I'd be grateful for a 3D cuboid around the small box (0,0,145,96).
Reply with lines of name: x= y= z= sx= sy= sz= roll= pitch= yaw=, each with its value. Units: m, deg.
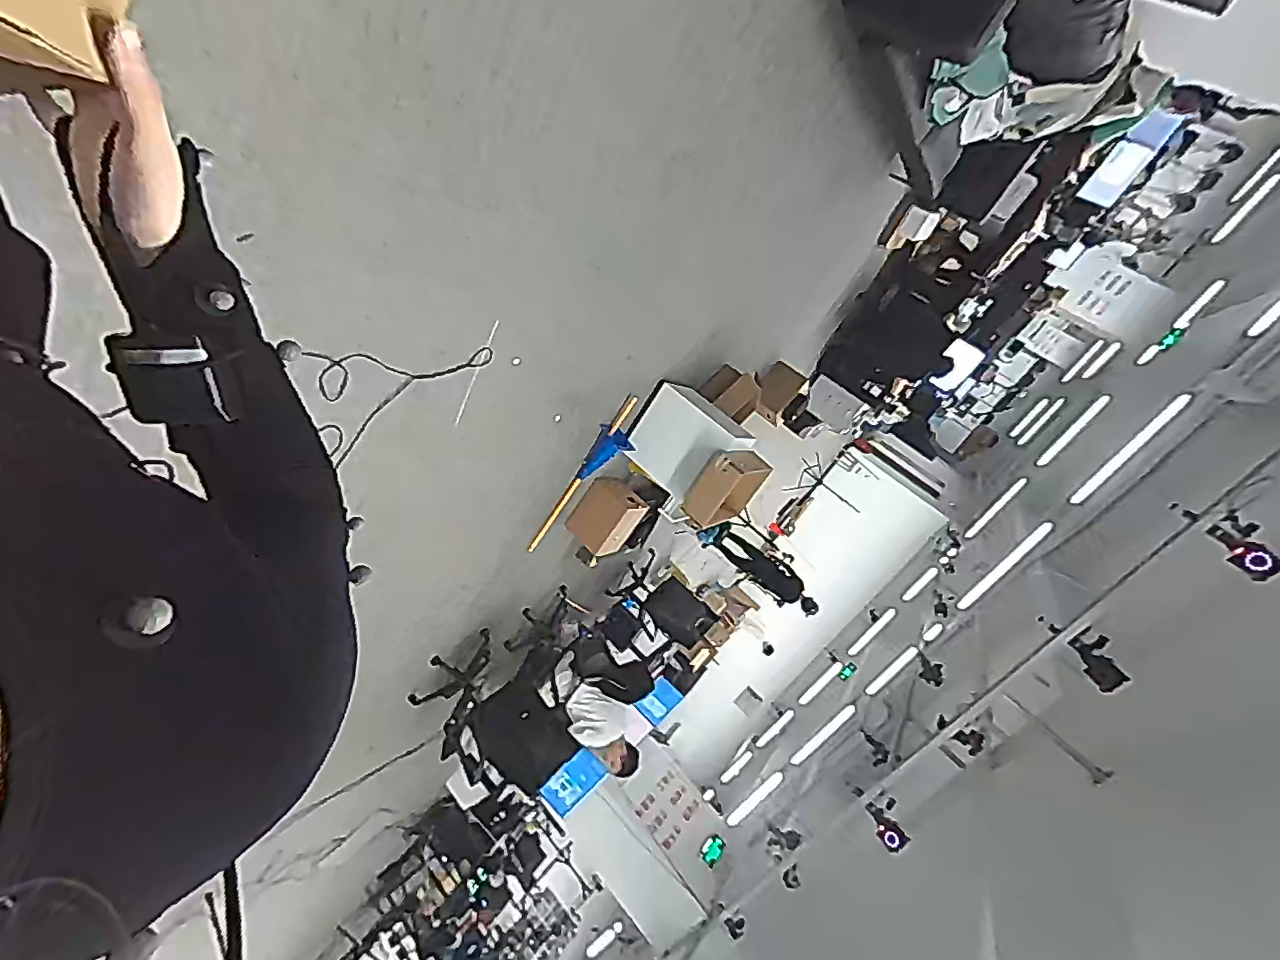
small box: x=-0.355 y=-0.311 z=0.237 sx=0.168 sy=0.176 sz=0.179 roll=5 pitch=101 yaw=-67
